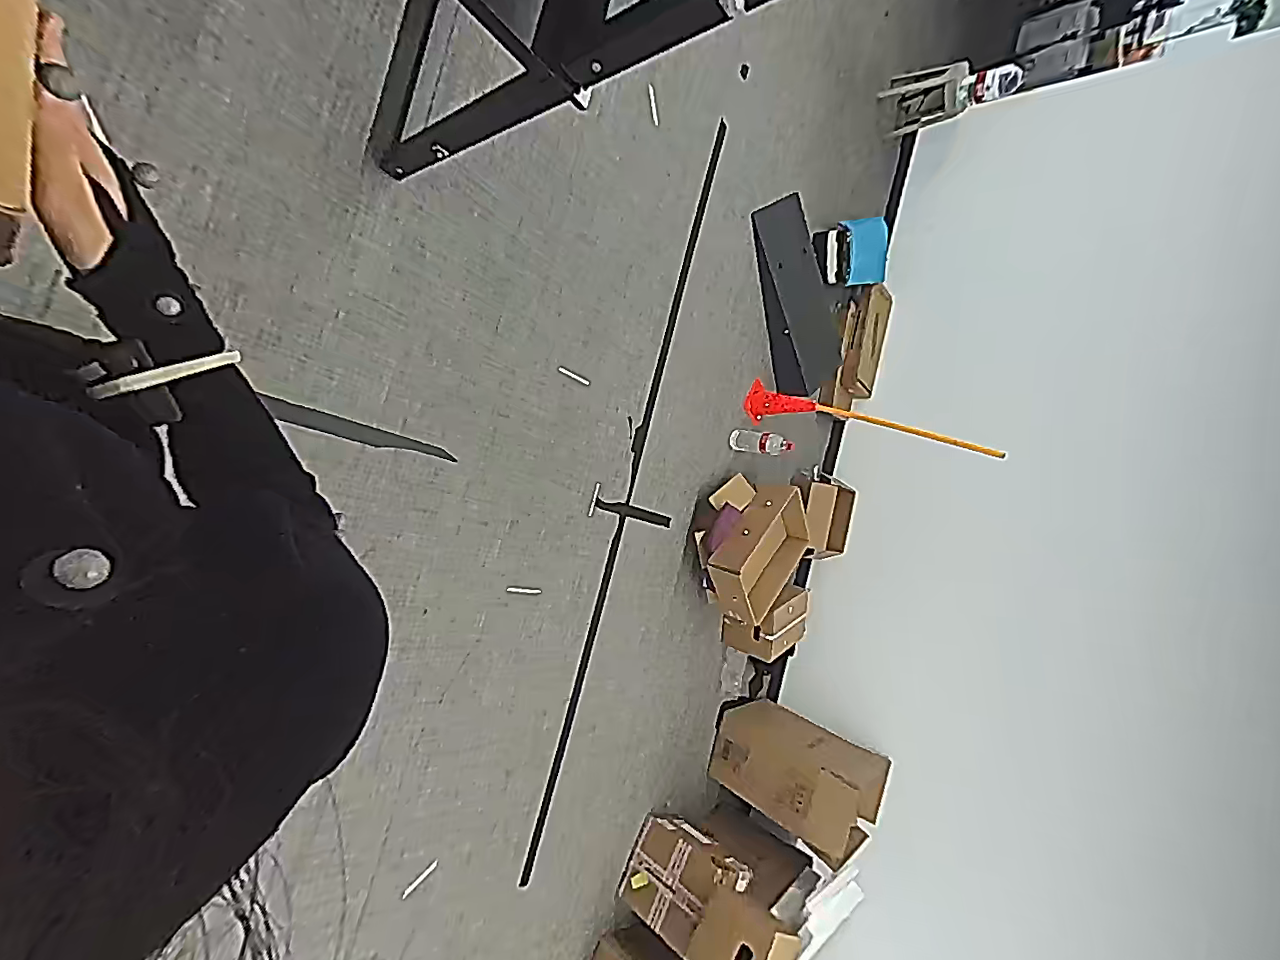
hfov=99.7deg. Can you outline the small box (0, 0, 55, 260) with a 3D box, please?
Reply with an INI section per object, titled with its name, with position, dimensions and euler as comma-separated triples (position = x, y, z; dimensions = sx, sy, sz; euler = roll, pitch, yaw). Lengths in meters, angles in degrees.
[small box]
position = -0.383, -0.215, 0.232
dimensions = 0.168, 0.176, 0.179
euler = 3, 95, -52
